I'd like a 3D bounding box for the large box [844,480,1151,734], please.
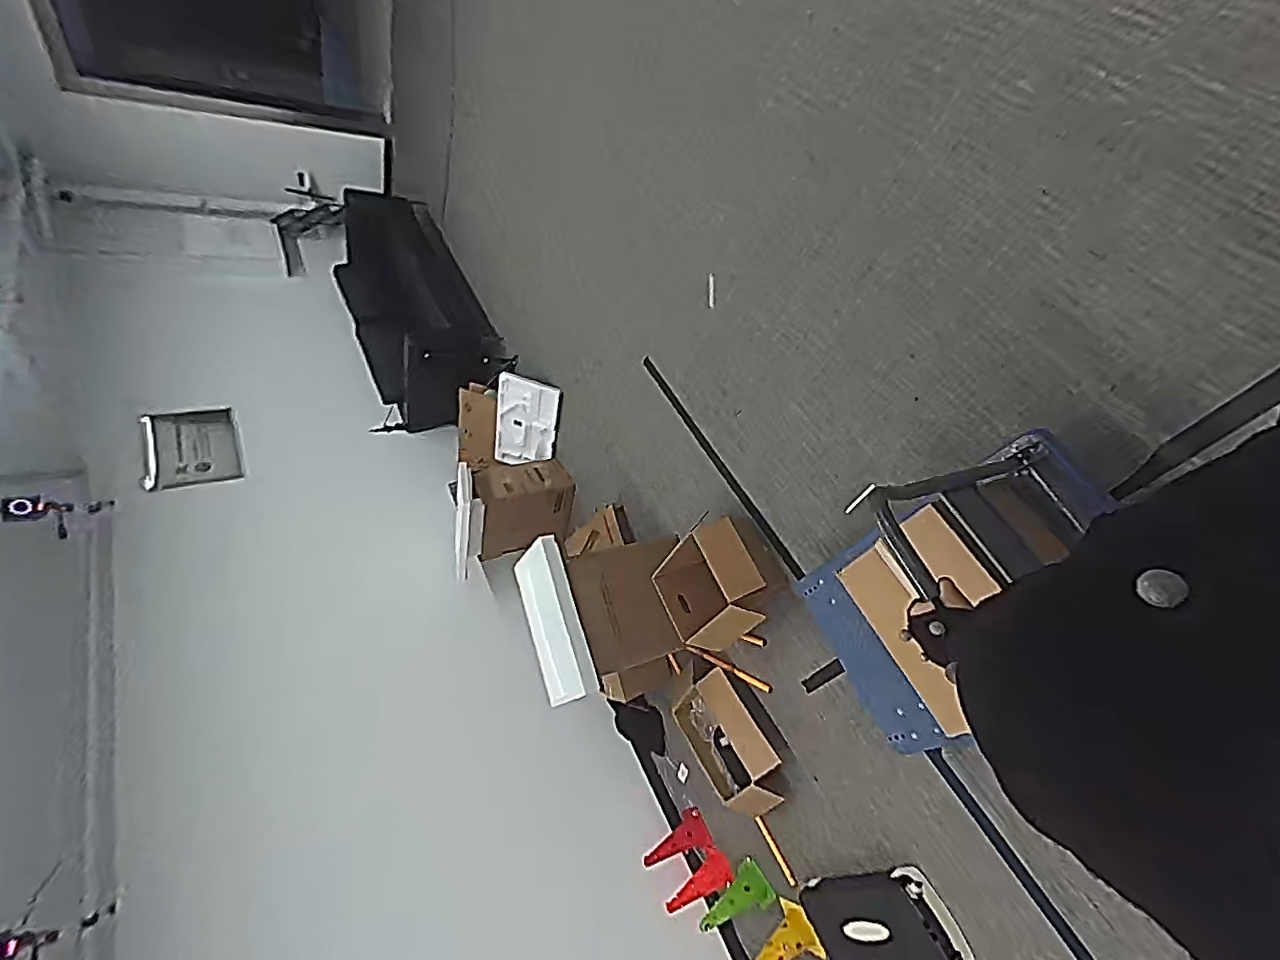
[{"bbox_3d":[0.752,0.264,1.180,0.408,0.320,0.320,62,143,26],"label":"large box"}]
